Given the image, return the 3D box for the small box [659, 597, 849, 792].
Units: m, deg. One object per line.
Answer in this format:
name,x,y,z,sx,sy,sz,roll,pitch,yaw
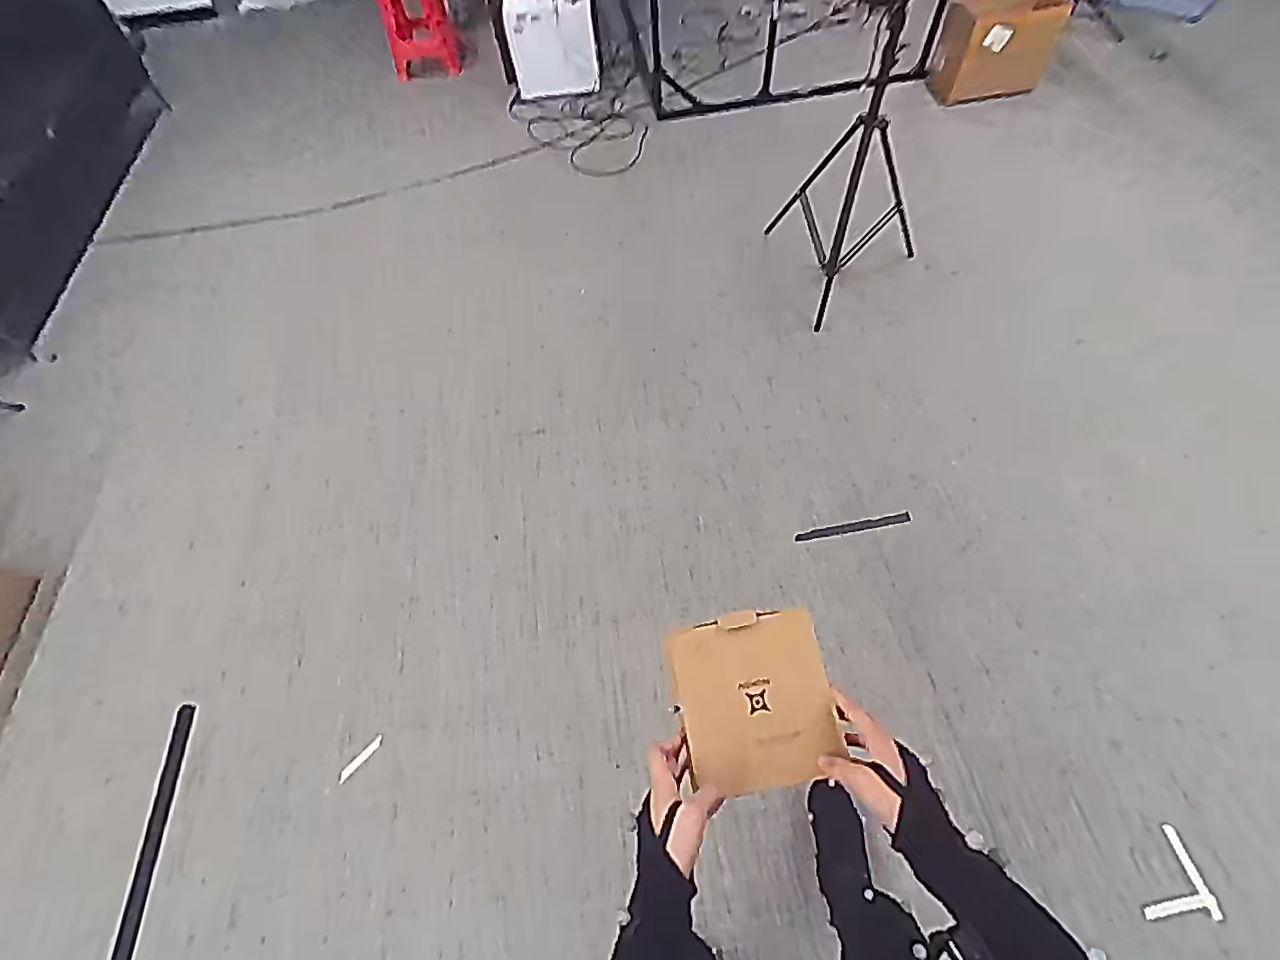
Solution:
small box,0.119,0.256,0.652,0.168,0.176,0.179,-9,67,-4
